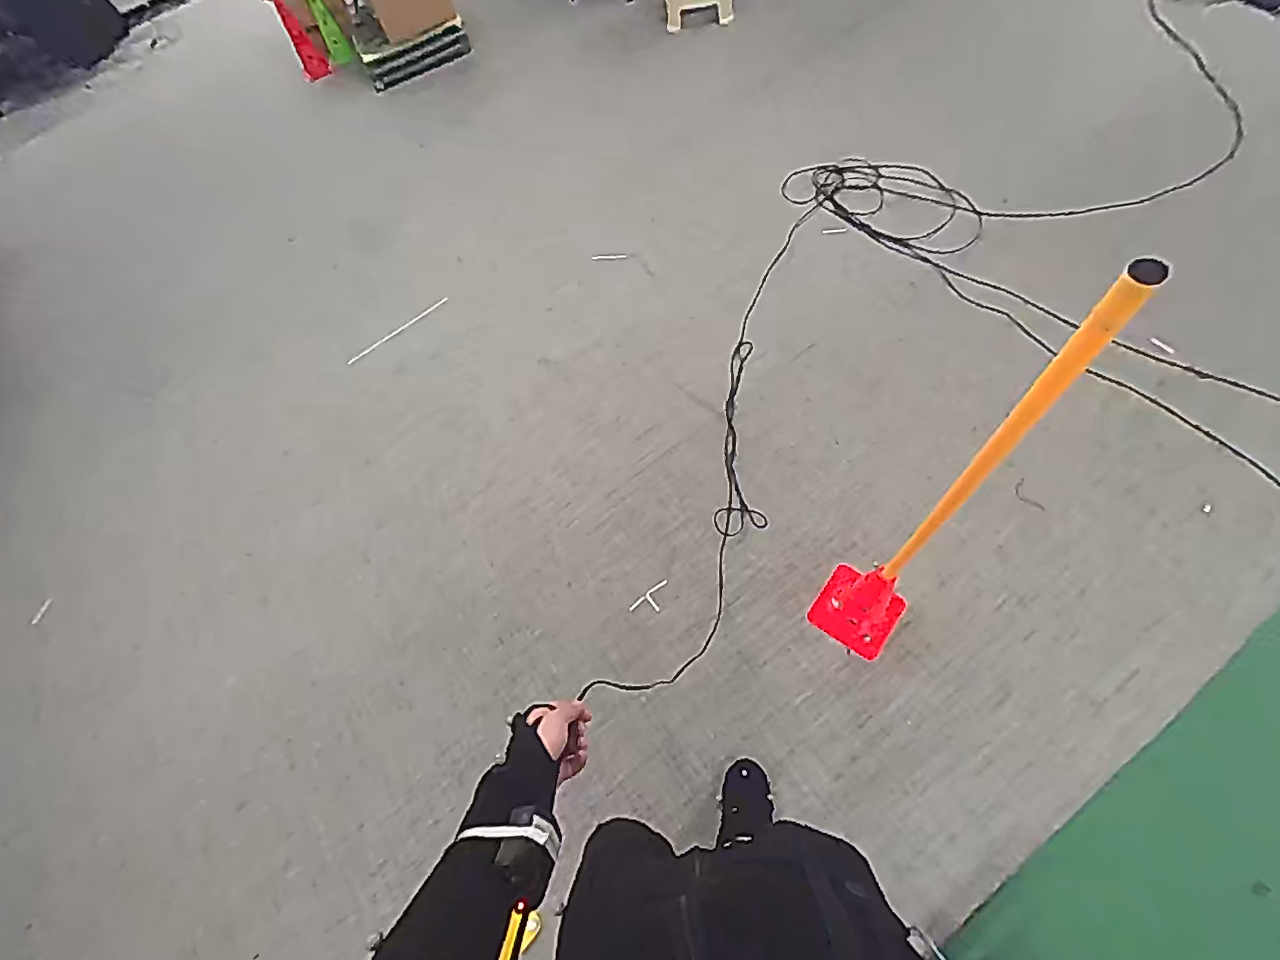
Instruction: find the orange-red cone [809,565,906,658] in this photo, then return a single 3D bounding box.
[{"bbox_3d":[0.557,0.271,1.295,0.198,0.360,0.199,34,73,22],"label":"orange-red cone"}]
